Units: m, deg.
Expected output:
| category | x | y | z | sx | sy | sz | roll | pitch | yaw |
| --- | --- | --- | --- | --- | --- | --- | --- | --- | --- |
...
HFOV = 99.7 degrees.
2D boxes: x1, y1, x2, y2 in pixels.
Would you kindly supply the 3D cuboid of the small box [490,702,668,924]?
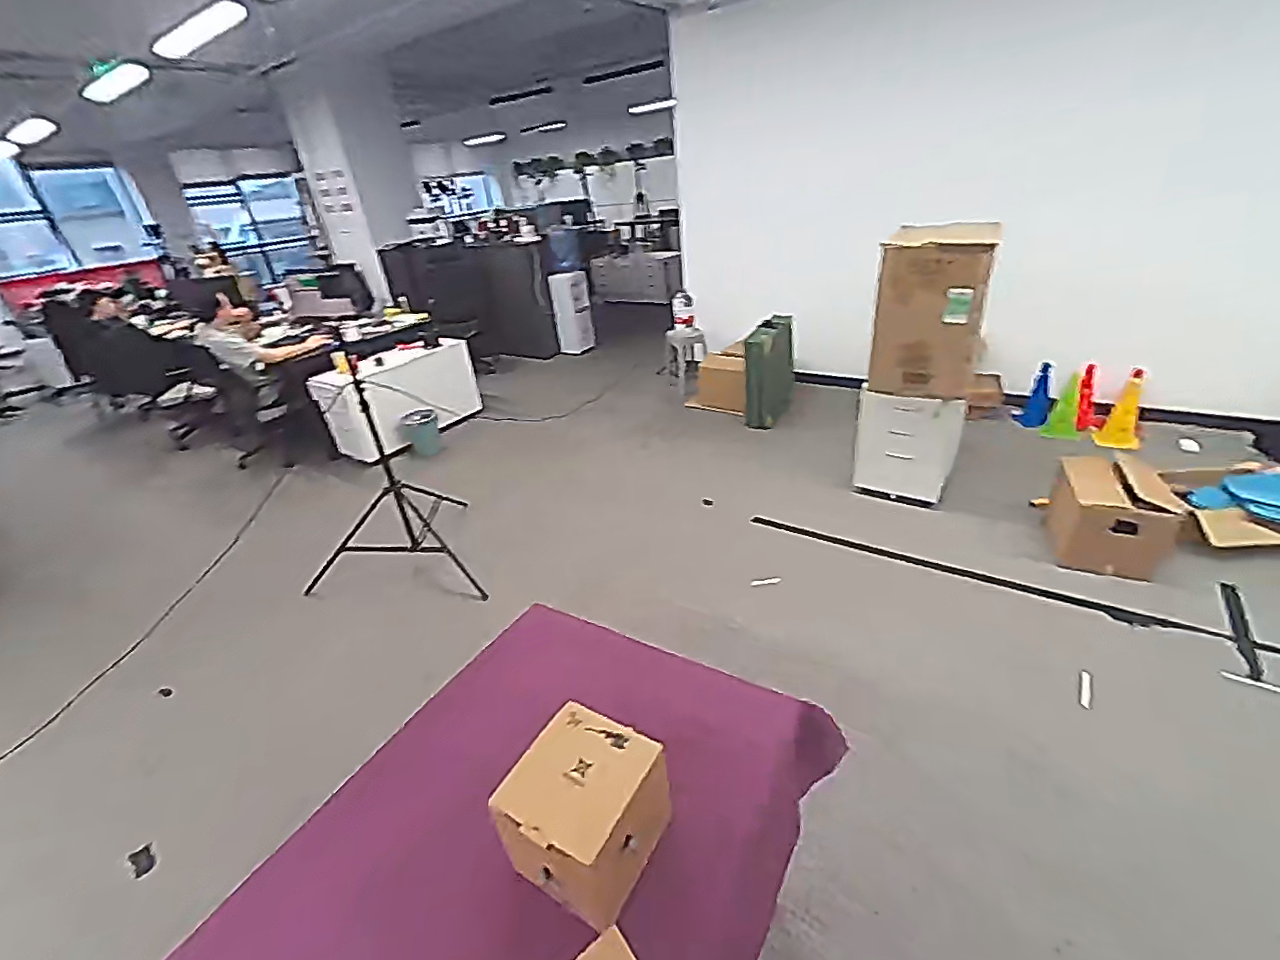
| category | x | y | z | sx | sy | sz | roll | pitch | yaw |
| --- | --- | --- | --- | --- | --- | --- | --- | --- | --- |
| small box | -0.072 | 0.457 | 0.752 | 0.168 | 0.176 | 0.179 | 11 | 35 | 30 |
